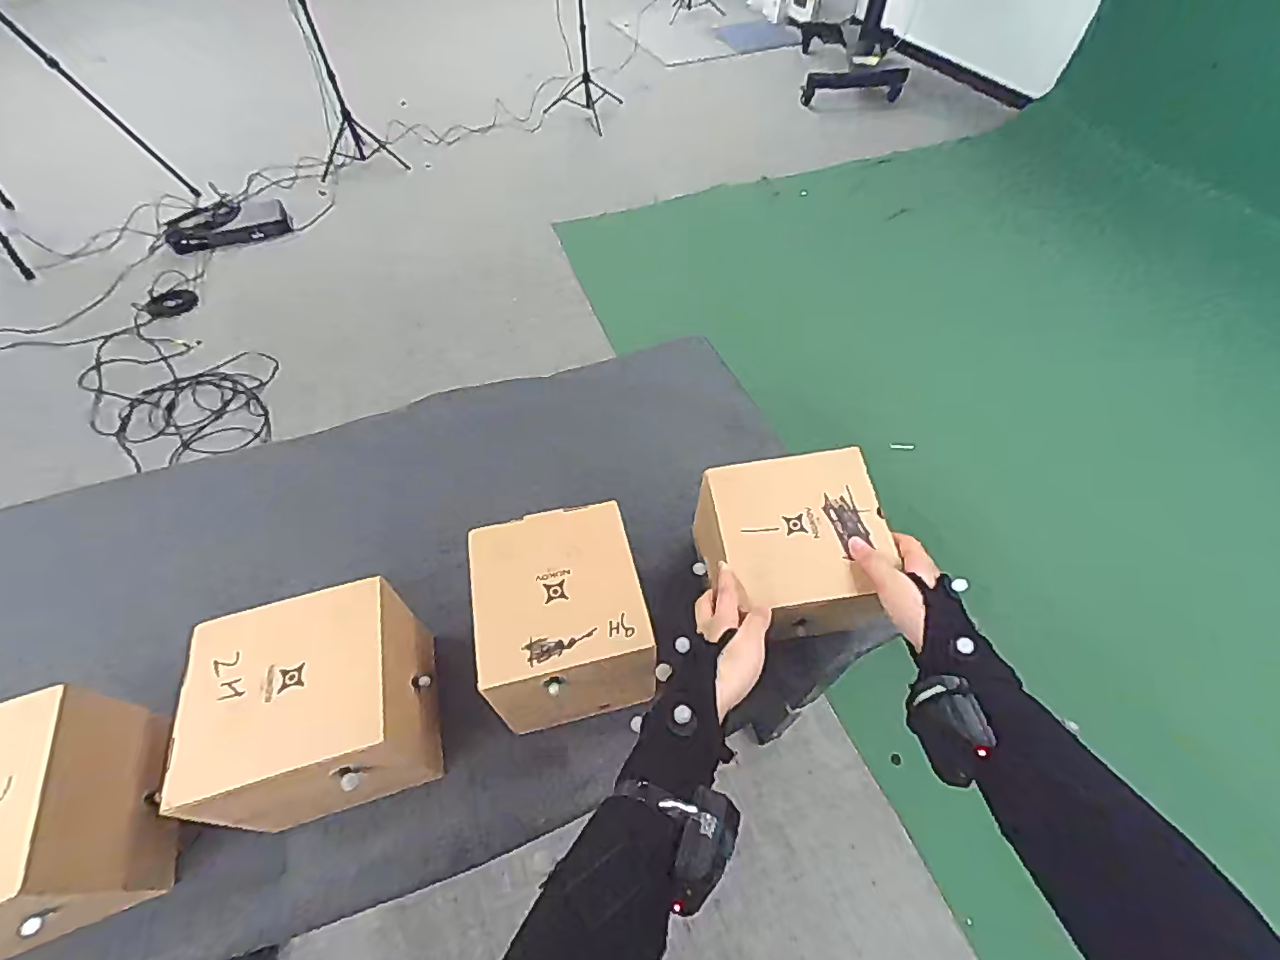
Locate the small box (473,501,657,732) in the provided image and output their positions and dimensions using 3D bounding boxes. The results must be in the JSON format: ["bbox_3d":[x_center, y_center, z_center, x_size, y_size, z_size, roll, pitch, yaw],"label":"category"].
[{"bbox_3d":[-0.080,0.153,0.600,0.168,0.176,0.179,-12,52,-6],"label":"small box"}]

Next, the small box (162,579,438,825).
[{"bbox_3d":[-0.316,0.228,0.550,0.179,0.176,0.168,-15,53,-8],"label":"small box"}]

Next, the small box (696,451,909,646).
[{"bbox_3d":[0.169,0.086,0.628,0.179,0.176,0.168,-7,61,-3],"label":"small box"}]
